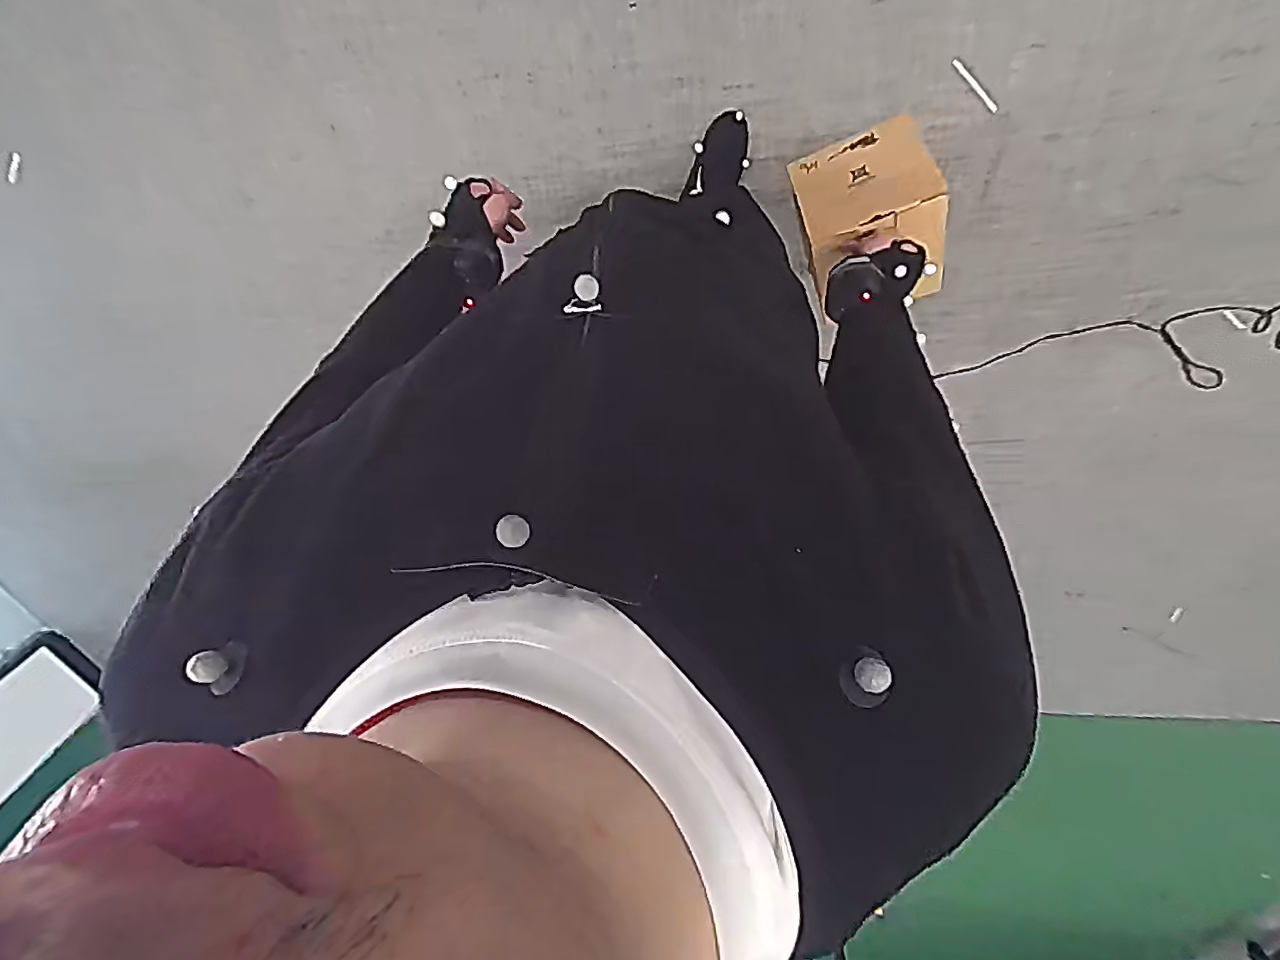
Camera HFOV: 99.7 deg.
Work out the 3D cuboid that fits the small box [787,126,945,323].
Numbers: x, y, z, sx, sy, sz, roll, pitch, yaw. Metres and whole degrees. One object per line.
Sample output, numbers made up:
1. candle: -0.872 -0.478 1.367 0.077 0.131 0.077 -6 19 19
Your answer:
1. small box: 0.331 -0.356 0.789 0.168 0.179 0.176 -18 146 20
